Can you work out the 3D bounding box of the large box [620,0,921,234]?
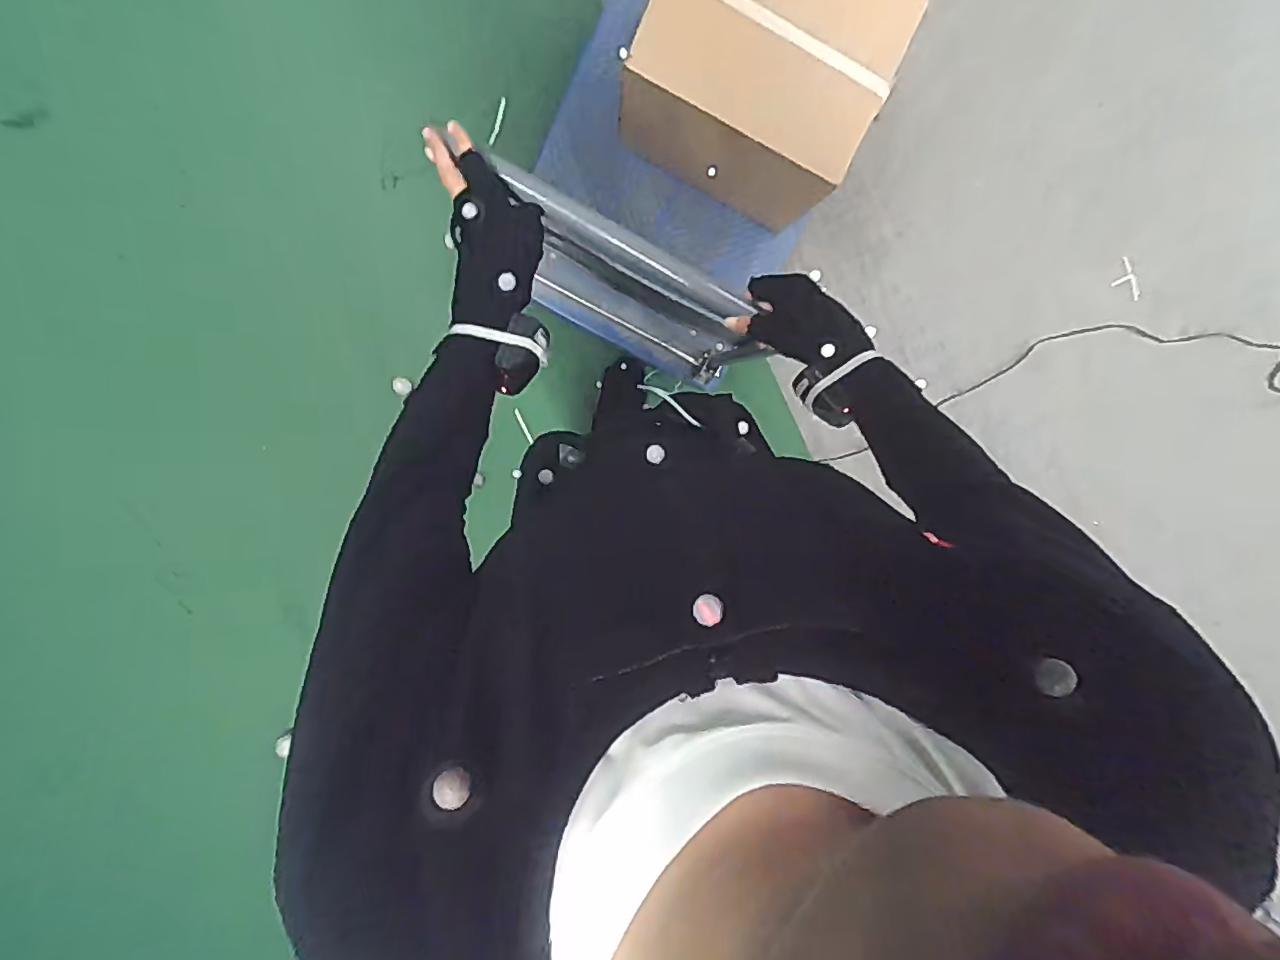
[{"bbox_3d":[0.207,-0.728,1.014,0.408,0.320,0.320,25,97,-7],"label":"large box"}]
